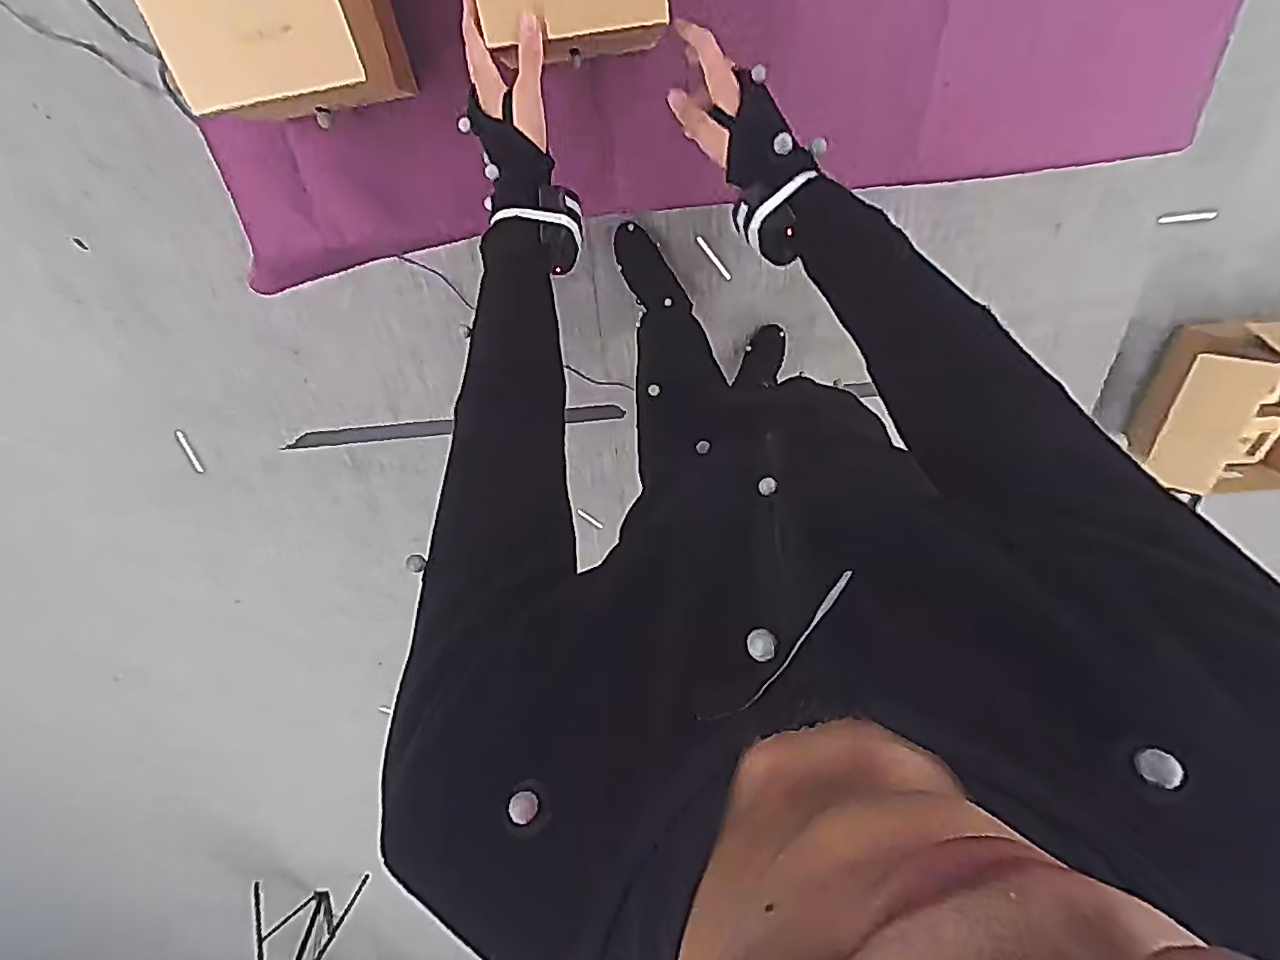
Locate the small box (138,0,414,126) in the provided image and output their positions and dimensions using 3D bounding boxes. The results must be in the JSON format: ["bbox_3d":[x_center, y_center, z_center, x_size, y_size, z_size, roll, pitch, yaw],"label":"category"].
[{"bbox_3d":[-0.342,-0.456,0.513,0.168,0.176,0.179,-10,121,2],"label":"small box"}]

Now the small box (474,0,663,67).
[{"bbox_3d":[-0.072,-0.505,0.504,0.168,0.176,0.179,-8,122,0],"label":"small box"}]
